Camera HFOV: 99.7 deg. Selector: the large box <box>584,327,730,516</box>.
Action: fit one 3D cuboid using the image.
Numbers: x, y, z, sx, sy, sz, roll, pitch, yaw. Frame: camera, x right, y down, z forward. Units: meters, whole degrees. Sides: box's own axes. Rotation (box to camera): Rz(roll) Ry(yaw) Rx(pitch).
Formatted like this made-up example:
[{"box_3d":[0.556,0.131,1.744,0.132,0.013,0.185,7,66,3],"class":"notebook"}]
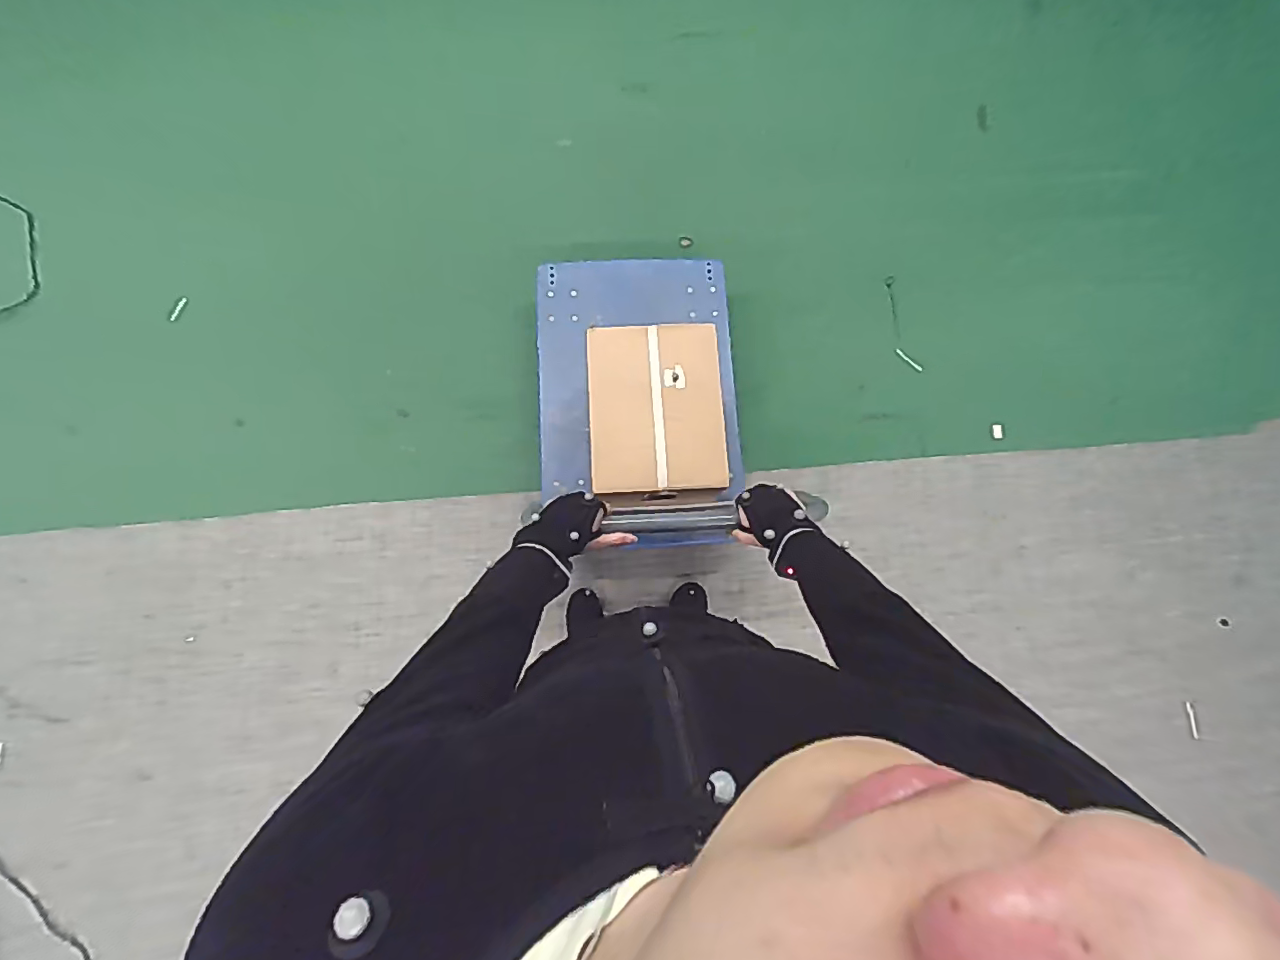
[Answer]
[{"box_3d":[0.030,-0.134,1.397,0.320,0.320,0.408,-3,78,-4],"class":"large box"}]
